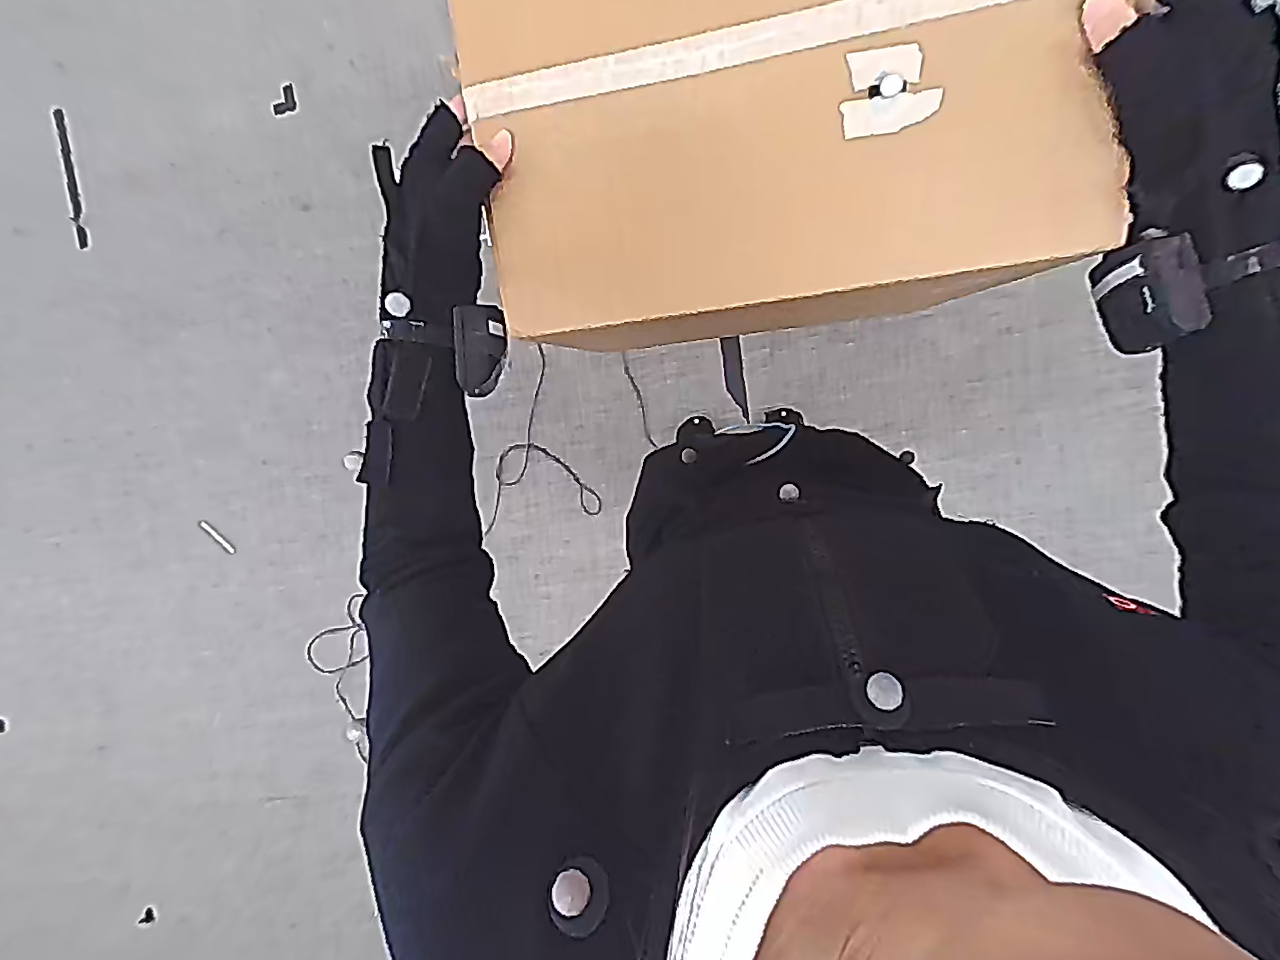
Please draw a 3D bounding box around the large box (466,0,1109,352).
[{"bbox_3d":[0.101,-0.310,0.497,0.408,0.320,0.320,-7,100,8],"label":"large box"}]
